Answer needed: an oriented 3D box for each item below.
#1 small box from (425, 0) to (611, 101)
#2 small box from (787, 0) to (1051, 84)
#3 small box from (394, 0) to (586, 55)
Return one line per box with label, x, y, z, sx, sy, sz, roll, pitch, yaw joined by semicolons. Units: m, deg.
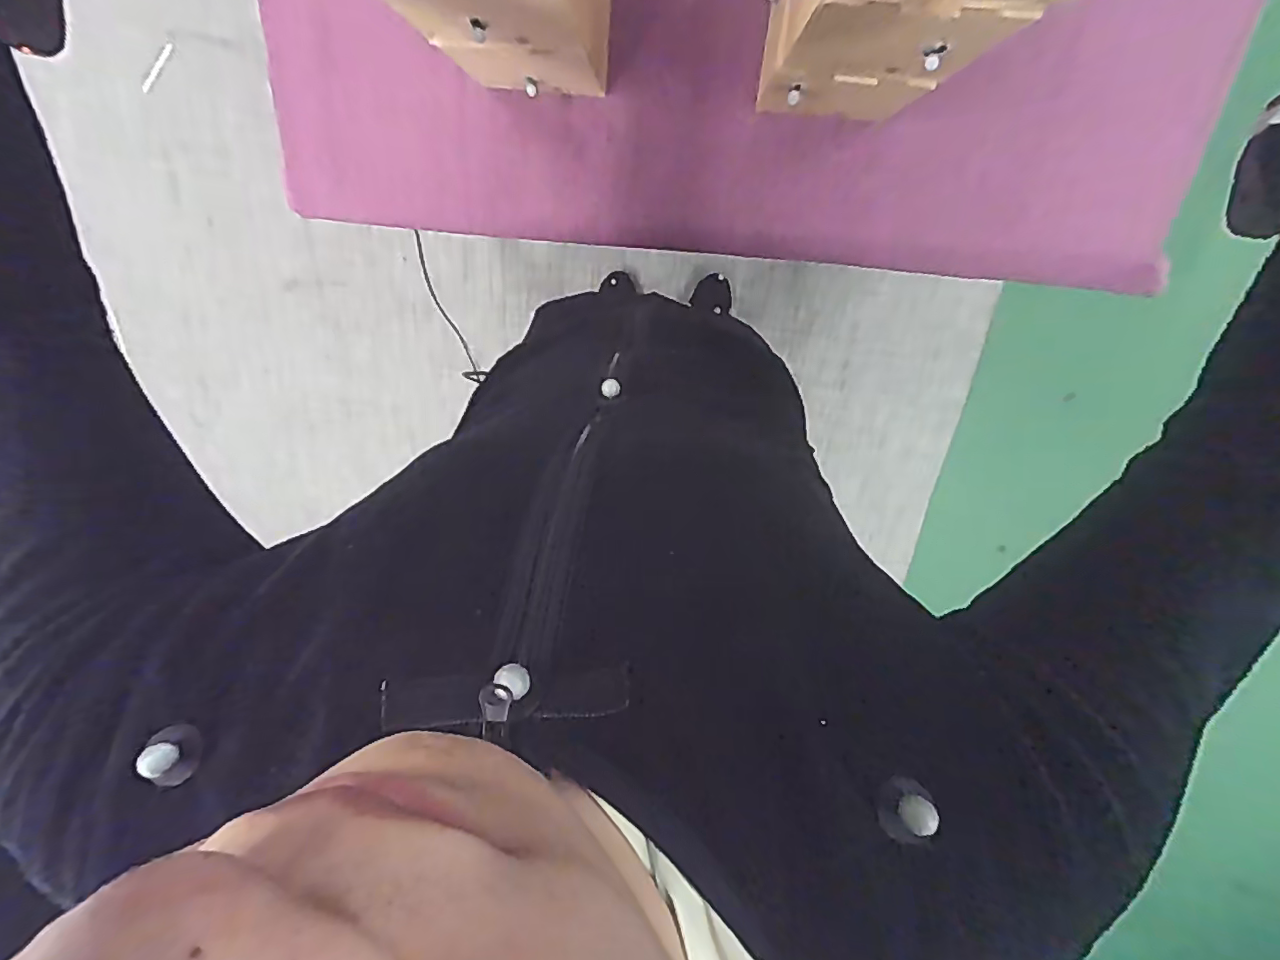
small box;-0.124;-0.546;0.591;0.168;0.176;0.179;6;114;2
small box;0.224;-0.445;0.433;0.168;0.176;0.179;6;113;1
small box;-0.134;-0.485;0.440;0.168;0.176;0.179;4;114;1
